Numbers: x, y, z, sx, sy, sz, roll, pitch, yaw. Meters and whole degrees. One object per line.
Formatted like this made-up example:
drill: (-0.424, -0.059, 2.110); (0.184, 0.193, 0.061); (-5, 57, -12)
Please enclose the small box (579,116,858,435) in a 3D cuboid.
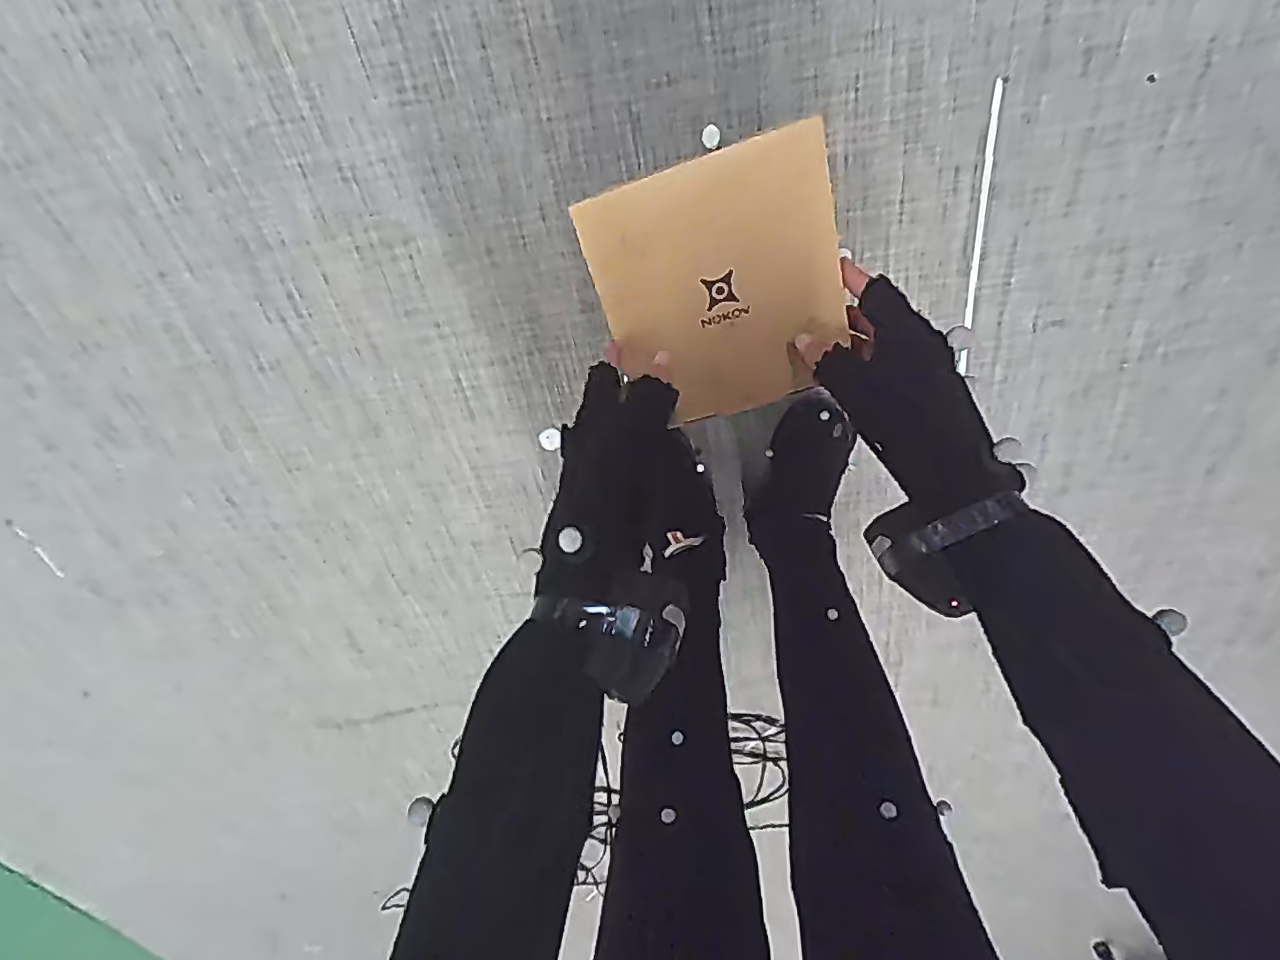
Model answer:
small box: (0.062, -0.167, 0.446); (0.168, 0.176, 0.179); (-15, 119, 11)
